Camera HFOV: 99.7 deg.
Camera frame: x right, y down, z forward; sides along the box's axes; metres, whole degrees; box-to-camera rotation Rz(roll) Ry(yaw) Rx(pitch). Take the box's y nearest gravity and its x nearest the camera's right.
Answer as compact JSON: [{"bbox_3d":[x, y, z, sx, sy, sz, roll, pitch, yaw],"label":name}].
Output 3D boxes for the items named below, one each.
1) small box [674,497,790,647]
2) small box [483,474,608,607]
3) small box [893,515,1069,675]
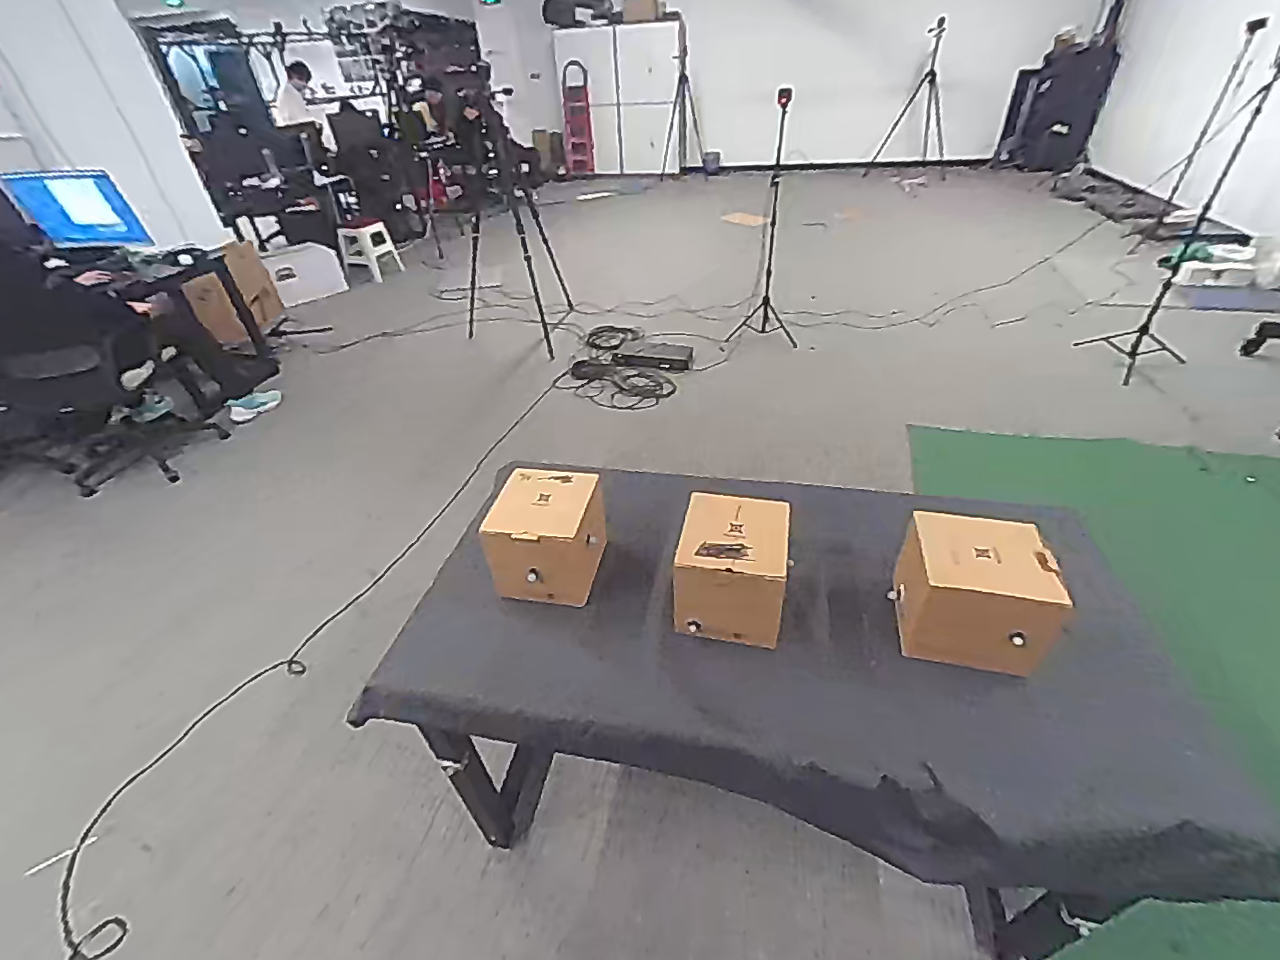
[{"bbox_3d":[0.157,0.153,0.907,0.168,0.176,0.179,6,38,13],"label":"small box"},{"bbox_3d":[-0.160,0.111,0.995,0.168,0.176,0.179,4,39,11],"label":"small box"},{"bbox_3d":[0.510,0.178,0.840,0.179,0.176,0.168,4,37,14],"label":"small box"}]
